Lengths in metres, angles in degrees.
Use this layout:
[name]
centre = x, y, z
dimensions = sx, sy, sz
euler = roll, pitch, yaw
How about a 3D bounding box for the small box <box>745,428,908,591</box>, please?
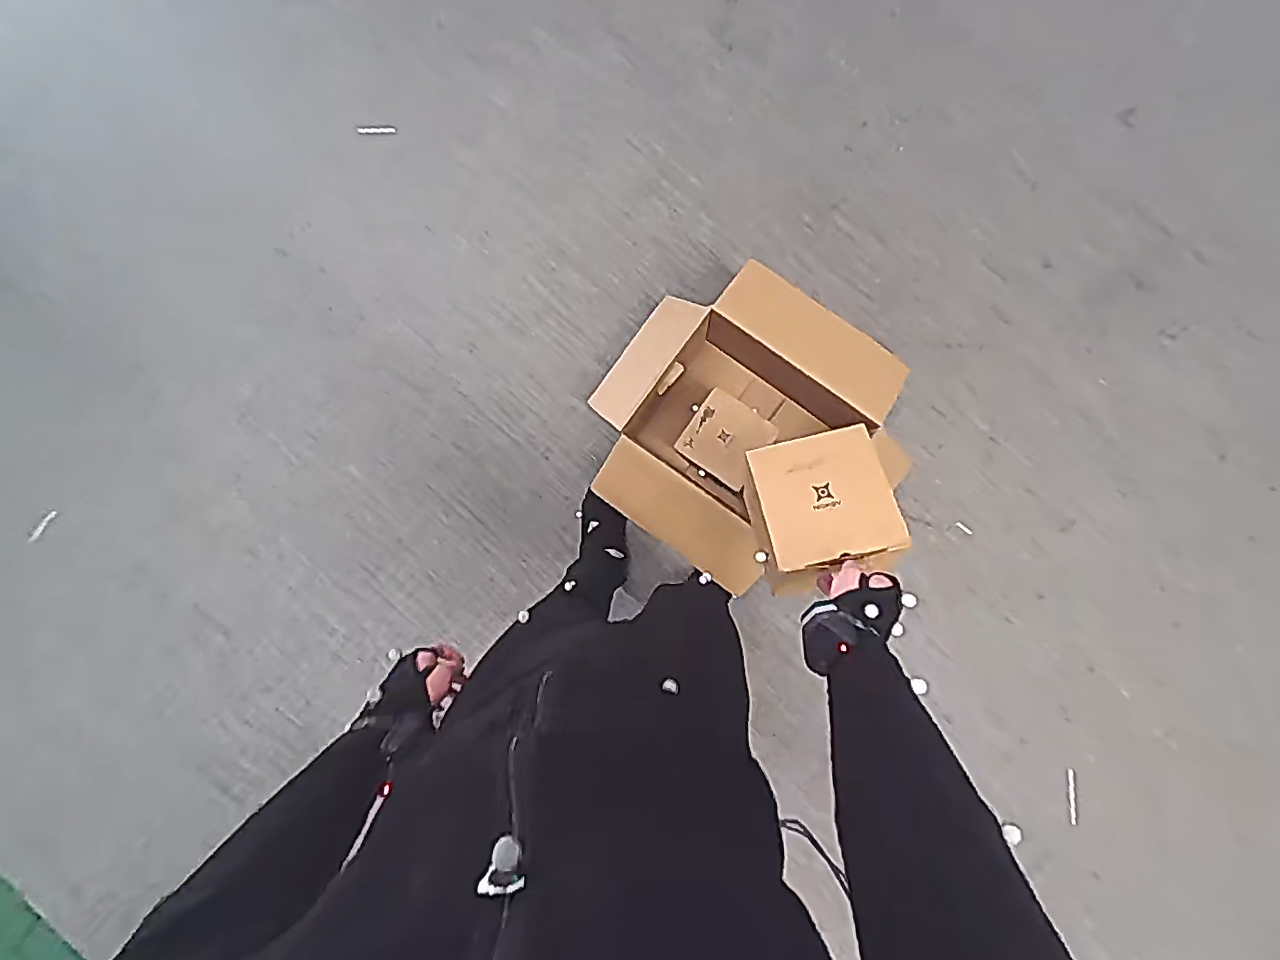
[small box]
centre = 0.252, 0.053, 0.778
dimensions = 0.168, 0.176, 0.179
euler = -11, 64, 3
